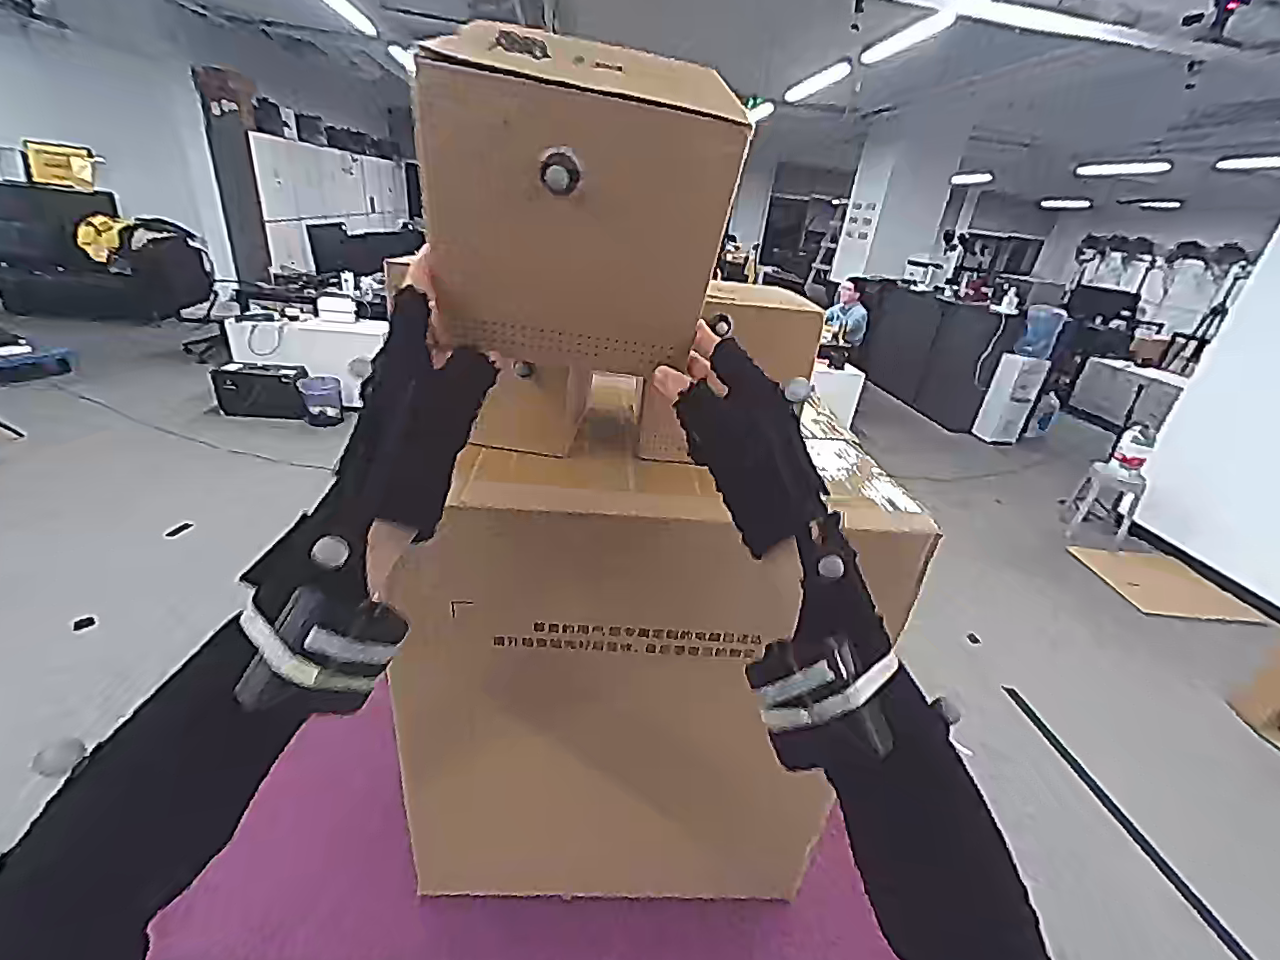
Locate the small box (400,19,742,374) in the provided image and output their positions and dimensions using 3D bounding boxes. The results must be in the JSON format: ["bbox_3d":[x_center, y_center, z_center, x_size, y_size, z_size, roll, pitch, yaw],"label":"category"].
[{"bbox_3d":[-0.046,-0.193,0.381,0.179,0.176,0.168,6,44,-8],"label":"small box"}]
